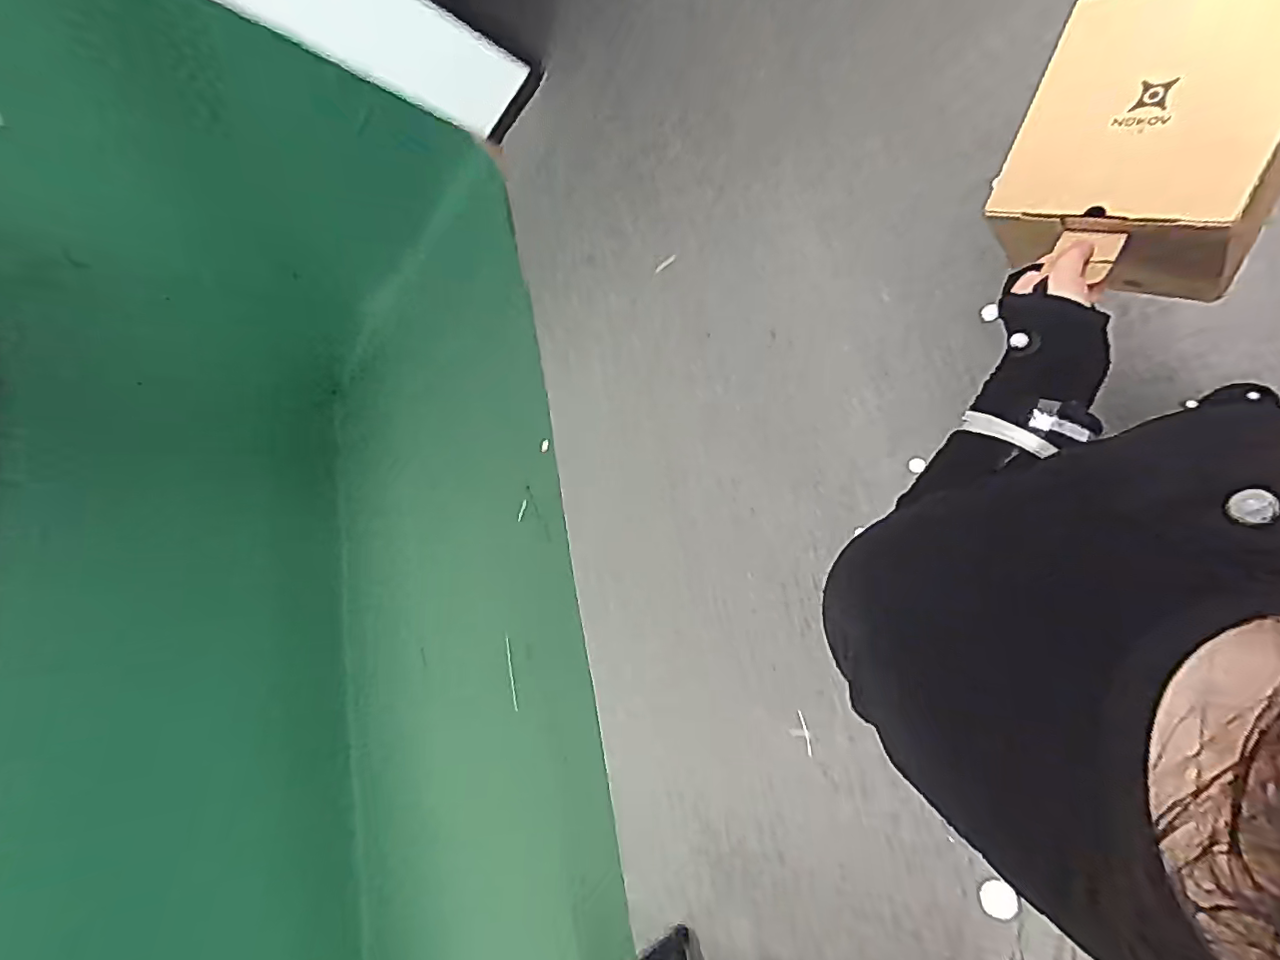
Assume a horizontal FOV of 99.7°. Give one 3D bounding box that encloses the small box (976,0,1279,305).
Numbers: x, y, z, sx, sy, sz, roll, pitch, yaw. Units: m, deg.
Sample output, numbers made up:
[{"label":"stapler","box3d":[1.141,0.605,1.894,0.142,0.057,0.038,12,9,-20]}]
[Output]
[{"label":"small box","box3d":[0.436,-0.276,0.478,0.168,0.176,0.179,29,106,41]}]
